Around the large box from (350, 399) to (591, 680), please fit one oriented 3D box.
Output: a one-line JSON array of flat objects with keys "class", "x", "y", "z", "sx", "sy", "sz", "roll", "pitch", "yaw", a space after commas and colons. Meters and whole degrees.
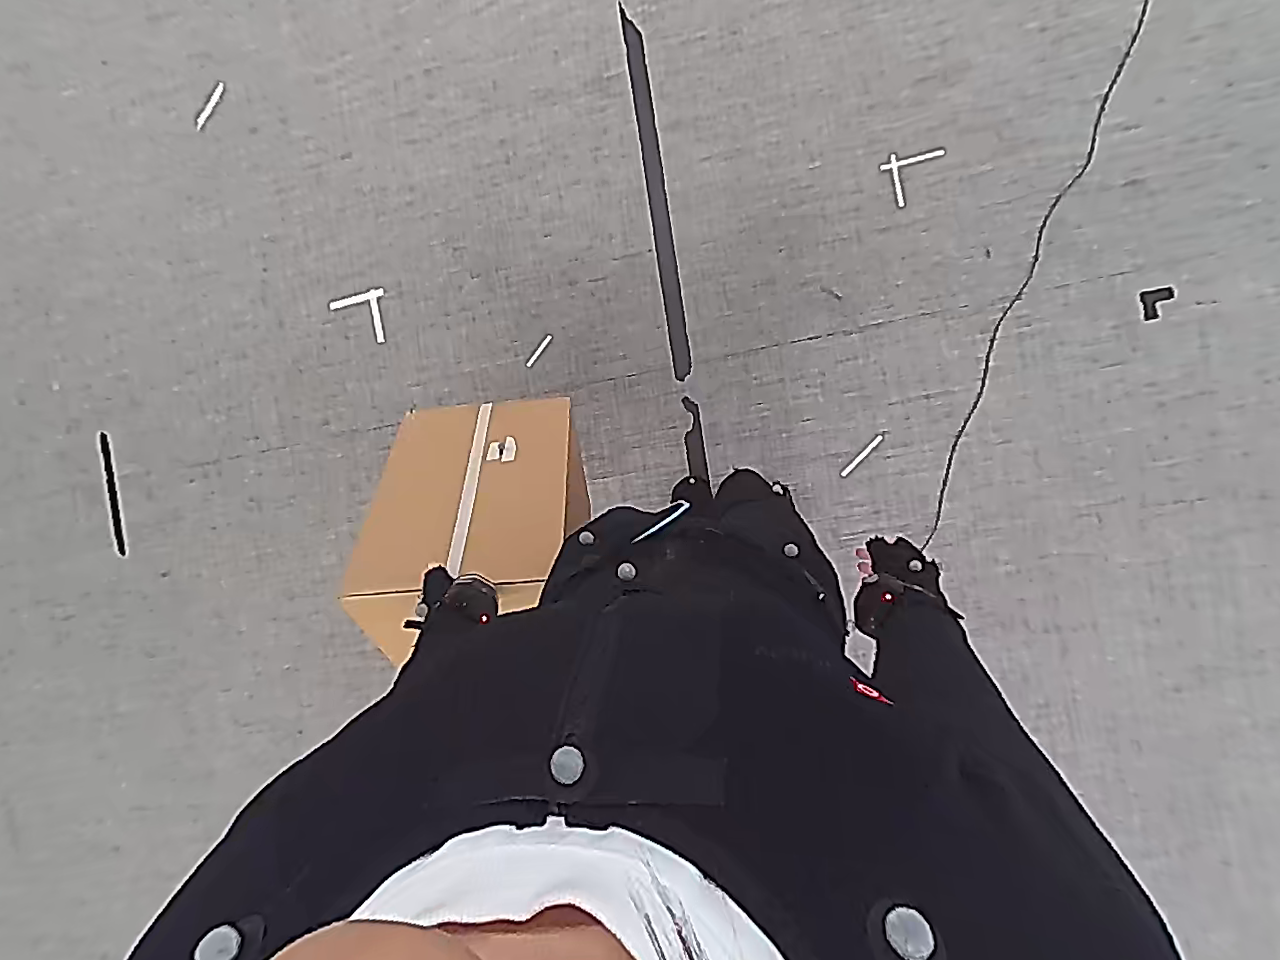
[{"class": "large box", "x": -0.263, "y": 0.103, "z": 0.994, "sx": 0.320, "sy": 0.320, "sz": 0.408, "roll": -3, "pitch": 46, "yaw": -1}]
